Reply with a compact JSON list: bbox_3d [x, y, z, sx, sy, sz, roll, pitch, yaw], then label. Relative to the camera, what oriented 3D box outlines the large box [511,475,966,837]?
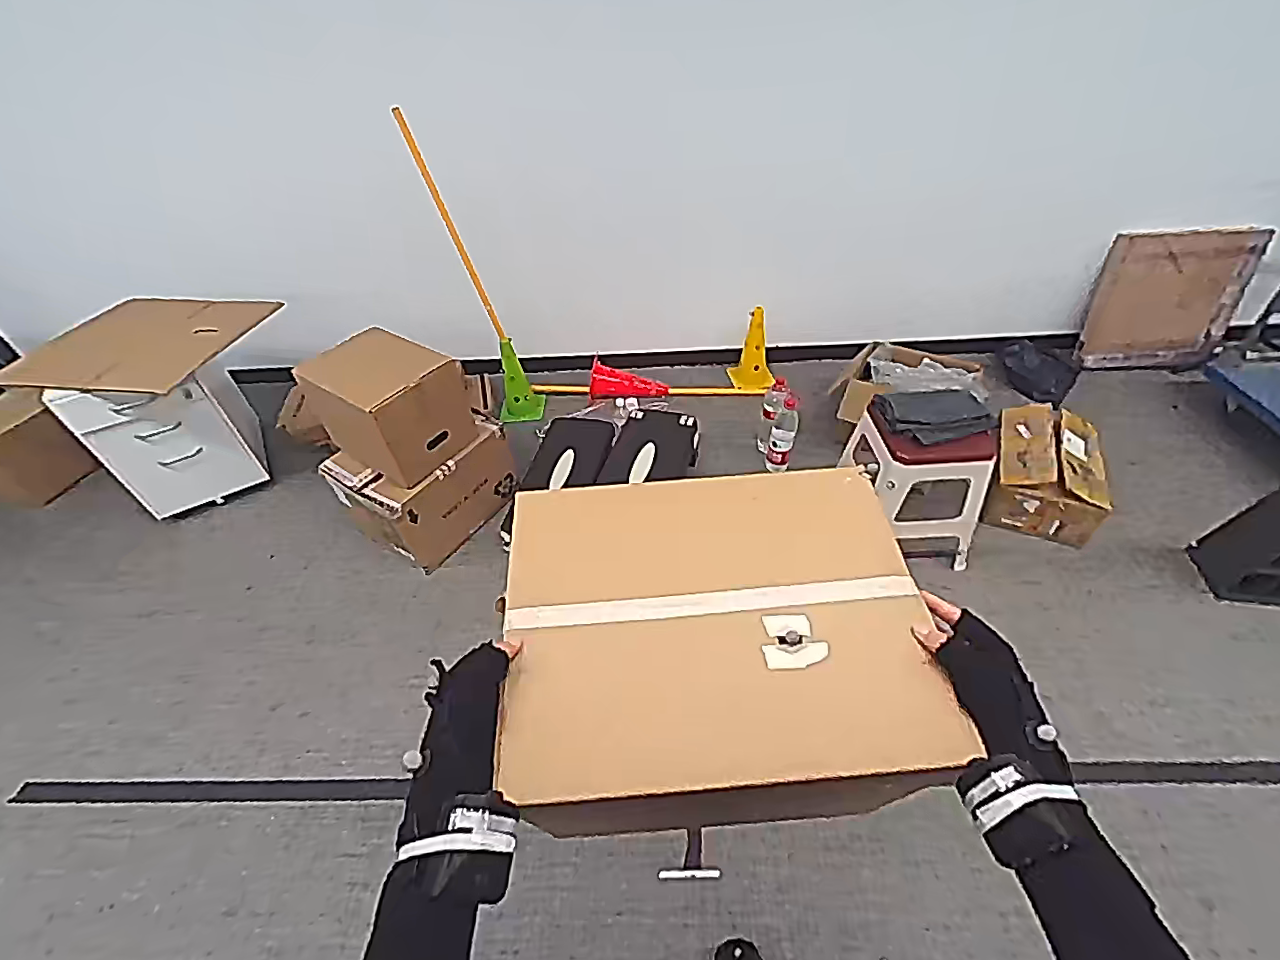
[{"bbox_3d":[0.076,0.223,0.666,0.408,0.320,0.320,-5,53,-2],"label":"large box"}]
